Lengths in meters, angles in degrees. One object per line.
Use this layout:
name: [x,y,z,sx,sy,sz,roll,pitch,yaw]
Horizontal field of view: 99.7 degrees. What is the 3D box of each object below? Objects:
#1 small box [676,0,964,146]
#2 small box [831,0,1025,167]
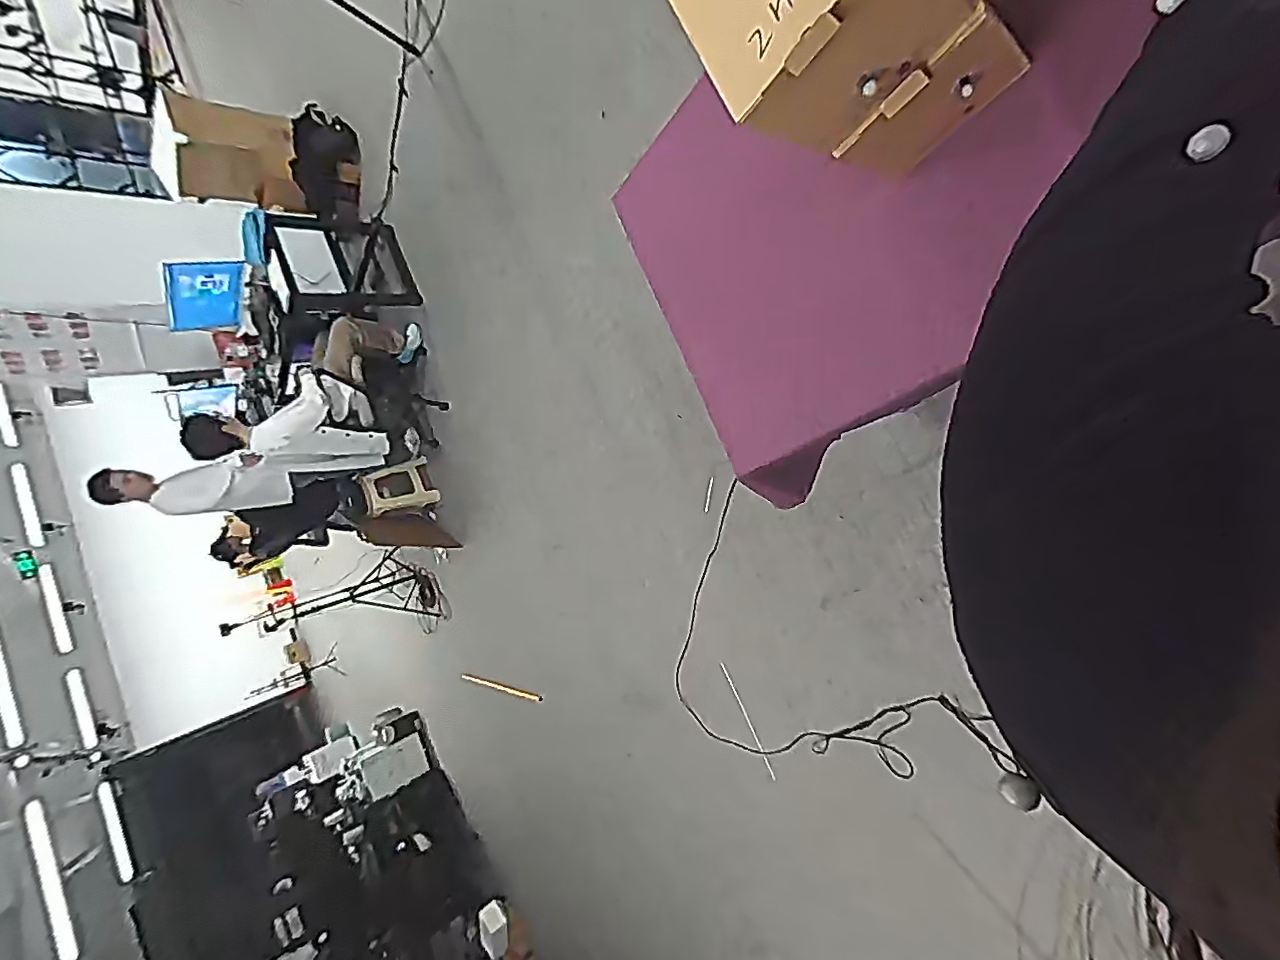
small box: [0.162,-0.455,0.507,0.168,0.176,0.179,-33,78,47]
small box: [0.291,-0.485,0.607,0.168,0.176,0.179,-33,78,47]
